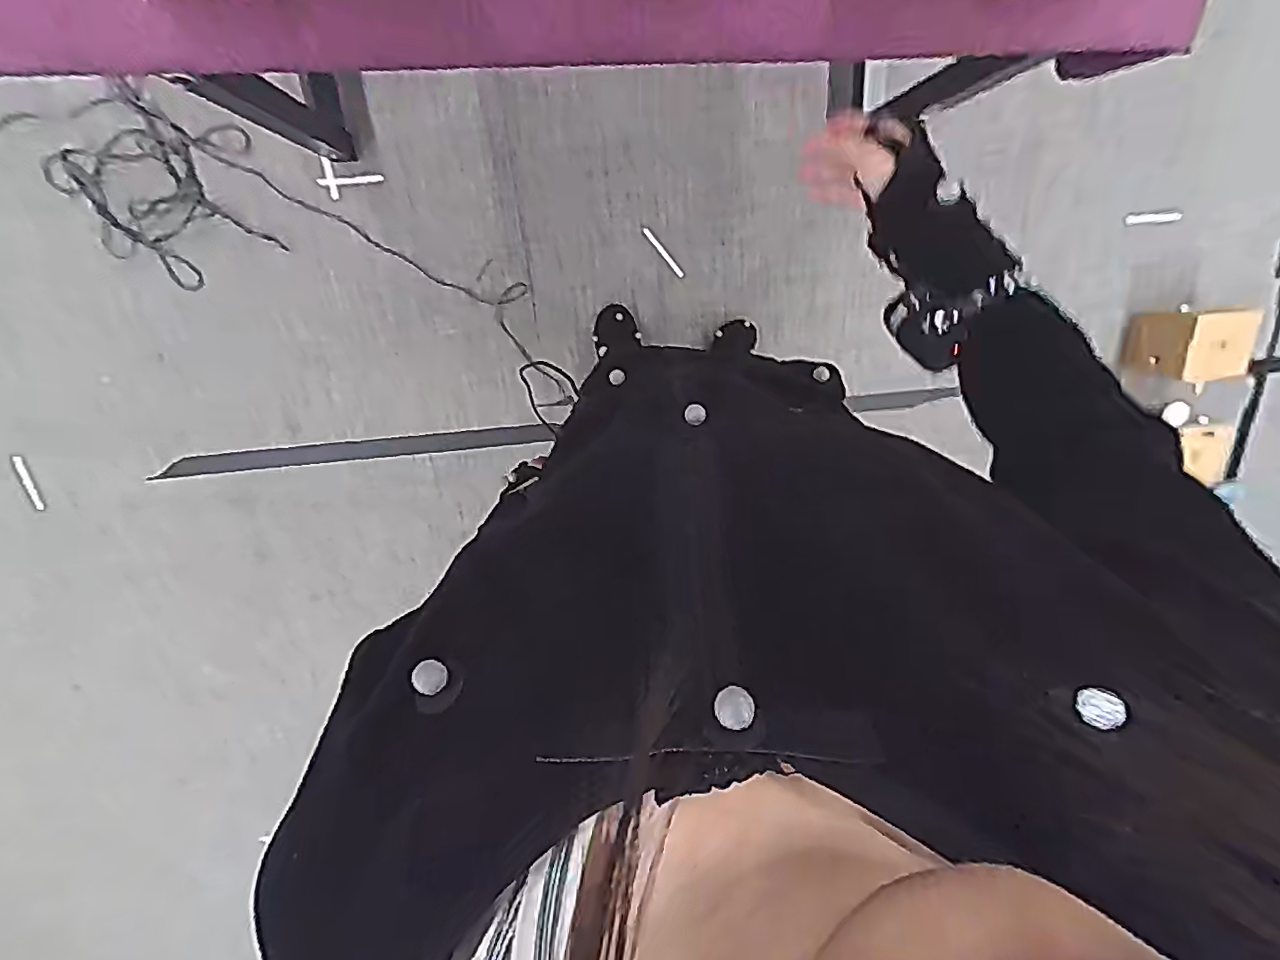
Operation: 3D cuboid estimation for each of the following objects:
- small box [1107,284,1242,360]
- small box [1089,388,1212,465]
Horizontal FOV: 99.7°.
[{"bbox_3d":[1.404,-0.423,1.435,0.179,0.176,0.168,-9,113,-5],"label":"small box"},{"bbox_3d":[1.445,-0.156,1.546,0.168,0.176,0.179,-4,113,-6],"label":"small box"}]
